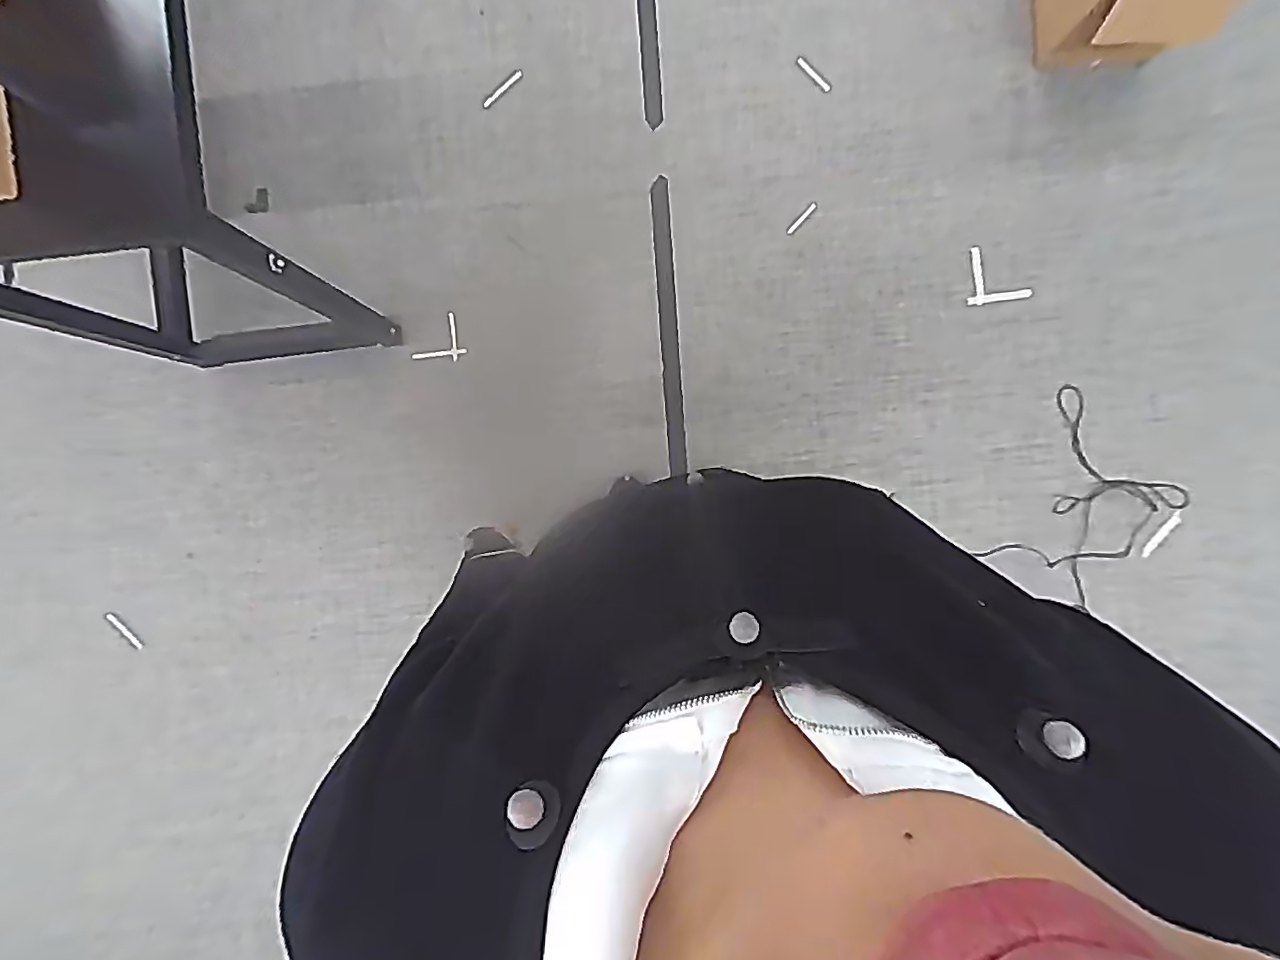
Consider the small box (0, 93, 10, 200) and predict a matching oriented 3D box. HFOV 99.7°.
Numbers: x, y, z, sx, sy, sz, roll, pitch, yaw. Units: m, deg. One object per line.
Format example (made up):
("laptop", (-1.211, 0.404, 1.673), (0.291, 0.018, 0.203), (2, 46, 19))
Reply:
("small box", (-1.003, -0.481, 0.713), (0.179, 0.176, 0.168), (-8, 89, 2))
